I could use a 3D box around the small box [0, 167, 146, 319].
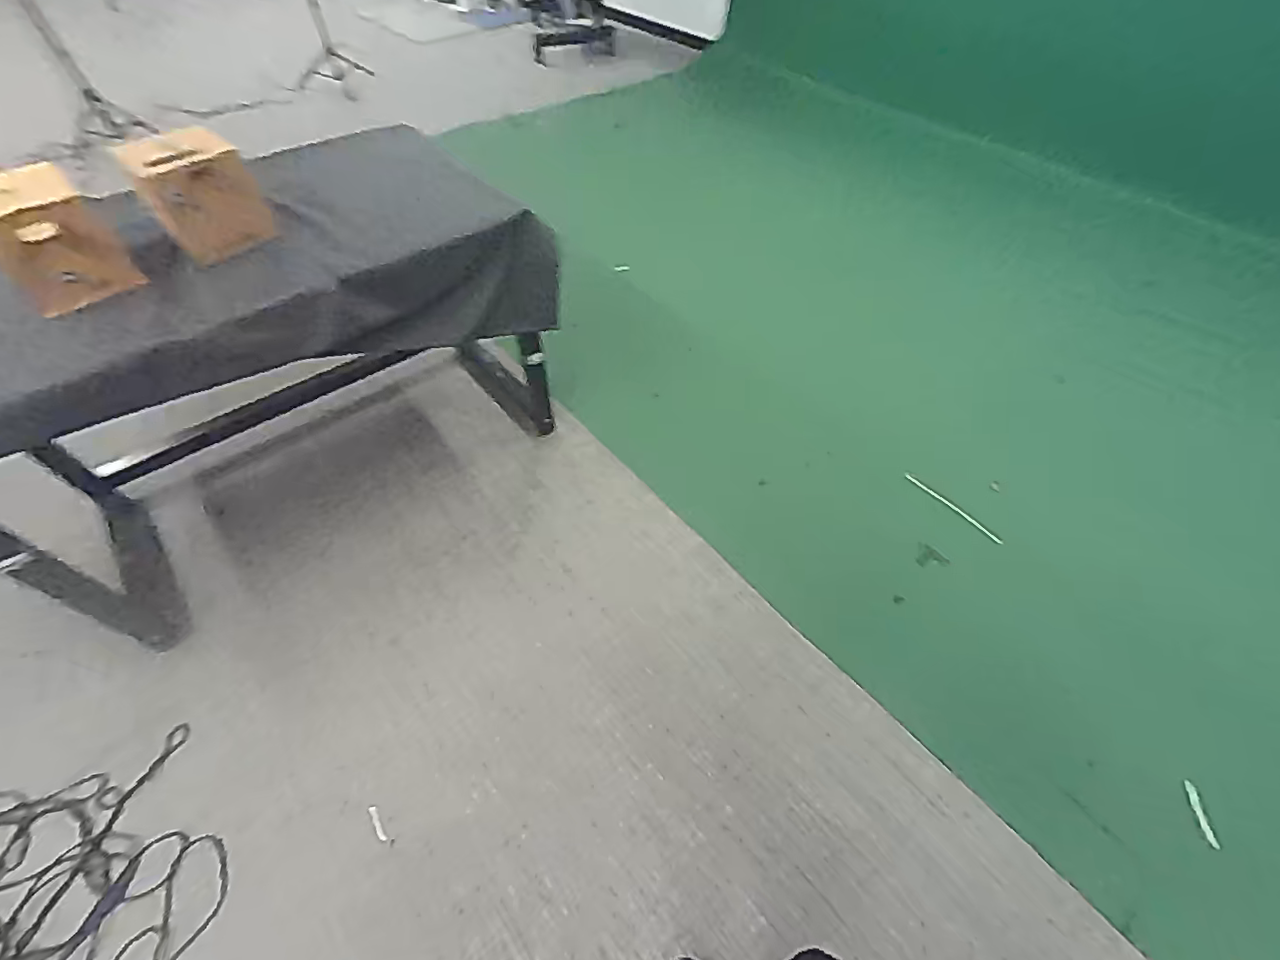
[{"bbox_3d":[-1.040,-0.414,0.952,0.179,0.176,0.168,36,60,23],"label":"small box"}]
